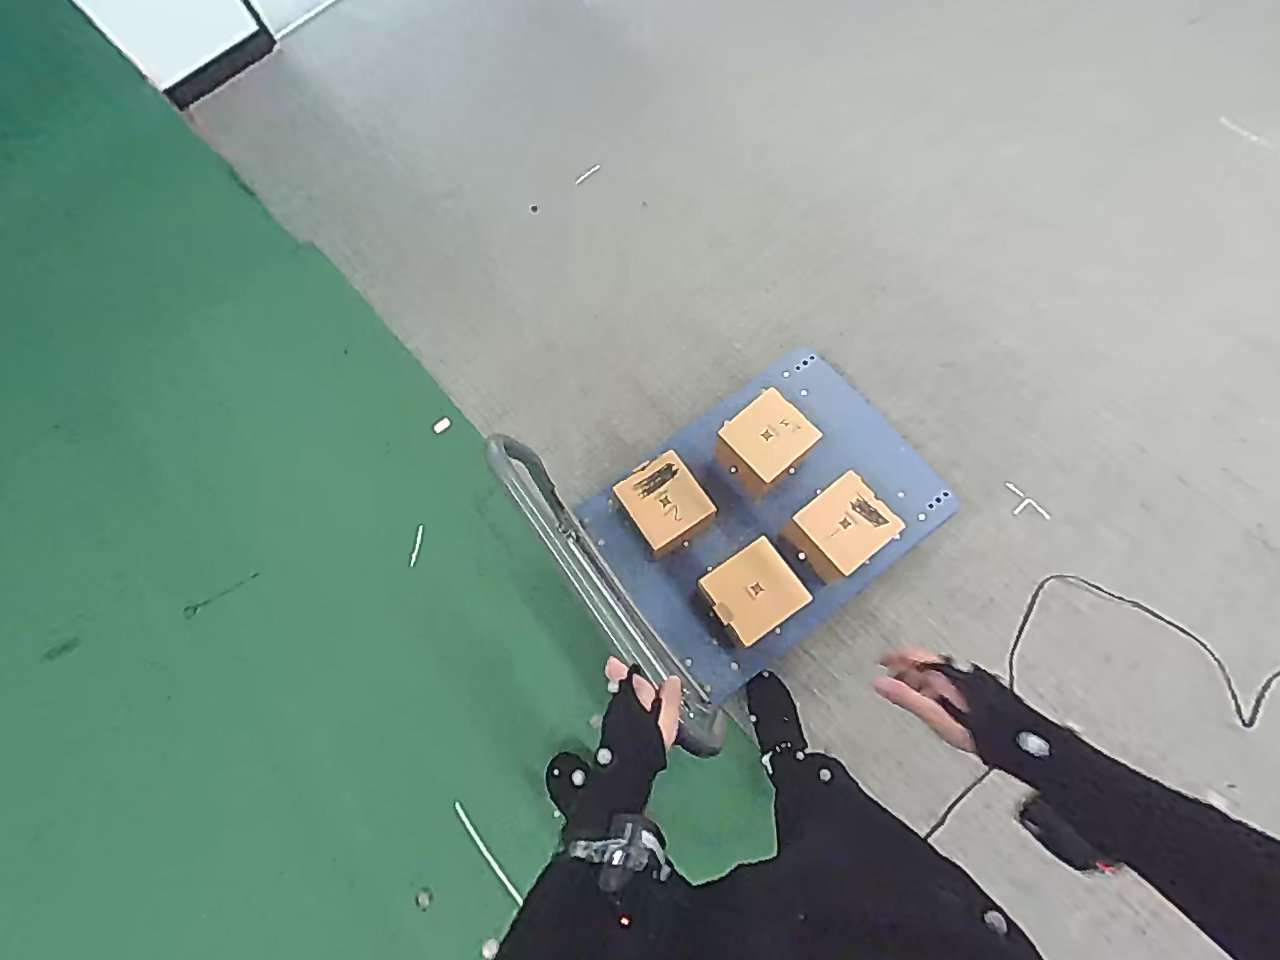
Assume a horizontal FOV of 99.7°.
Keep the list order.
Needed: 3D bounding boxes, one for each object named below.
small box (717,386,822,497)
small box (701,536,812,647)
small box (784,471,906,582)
[{"bbox_3d":[0.300,-0.083,1.293,0.179,0.176,0.168,-39,75,-8],"label":"small box"},{"bbox_3d":[0.247,0.249,1.198,0.179,0.176,0.168,-34,74,-5],"label":"small box"},{"bbox_3d":[0.451,0.111,1.223,0.179,0.176,0.168,-38,73,-6],"label":"small box"}]
